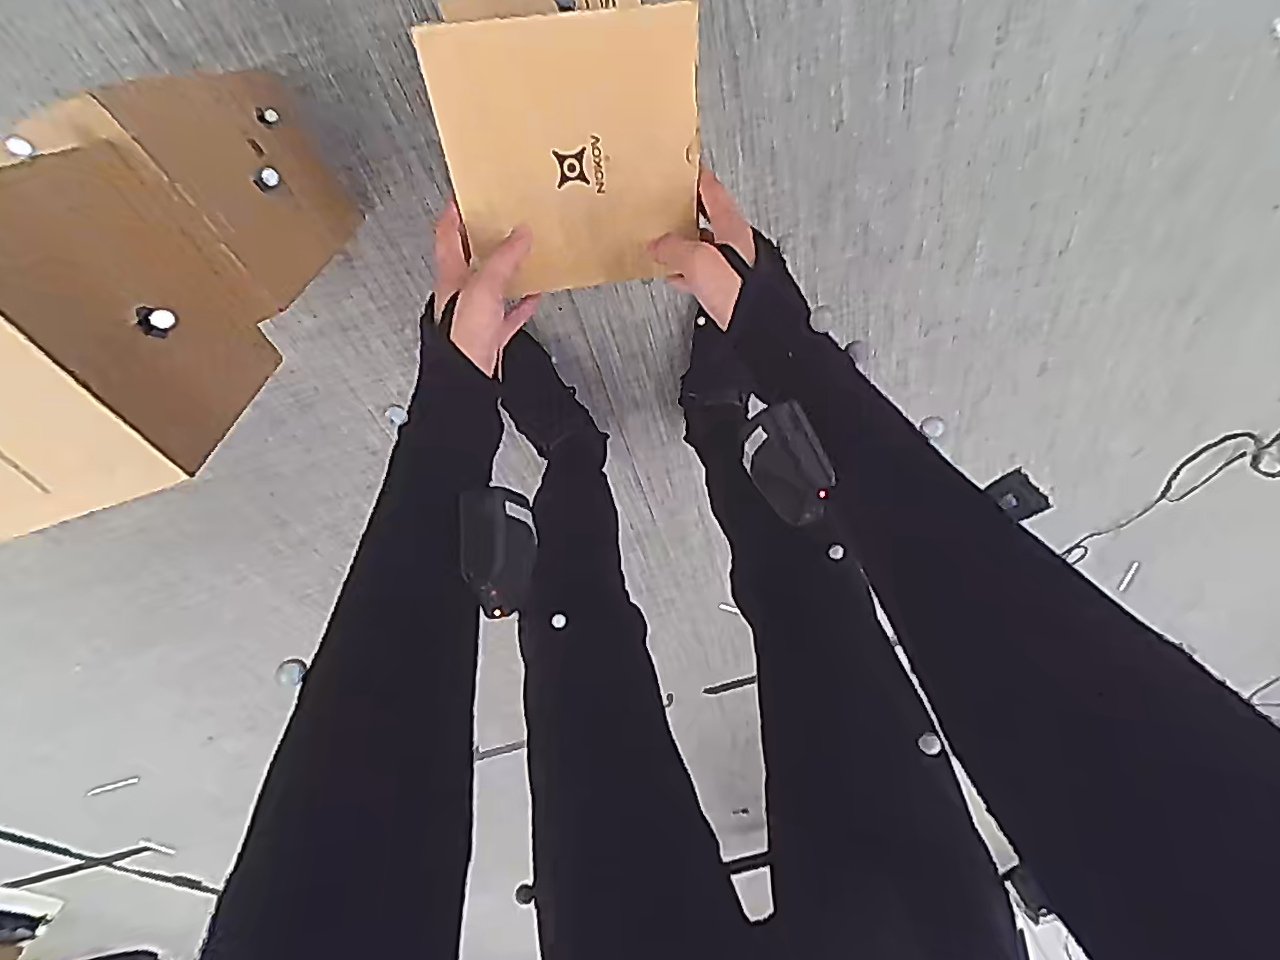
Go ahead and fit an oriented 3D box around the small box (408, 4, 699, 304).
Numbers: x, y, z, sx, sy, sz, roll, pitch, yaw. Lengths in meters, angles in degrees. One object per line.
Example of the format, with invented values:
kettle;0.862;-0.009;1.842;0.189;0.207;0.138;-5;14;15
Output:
small box;-0.058;-0.259;0.431;0.179;0.176;0.168;-11;130;-5

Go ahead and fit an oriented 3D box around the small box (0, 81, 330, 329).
small box;-0.415;-0.215;0.469;0.179;0.176;0.168;-20;131;7

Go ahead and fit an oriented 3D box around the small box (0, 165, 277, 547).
small box;-0.399;-0.088;0.363;0.168;0.176;0.179;-17;132;5

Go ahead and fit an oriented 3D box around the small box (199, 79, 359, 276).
small box;-0.451;-0.313;0.597;0.168;0.176;0.179;-20;131;6
